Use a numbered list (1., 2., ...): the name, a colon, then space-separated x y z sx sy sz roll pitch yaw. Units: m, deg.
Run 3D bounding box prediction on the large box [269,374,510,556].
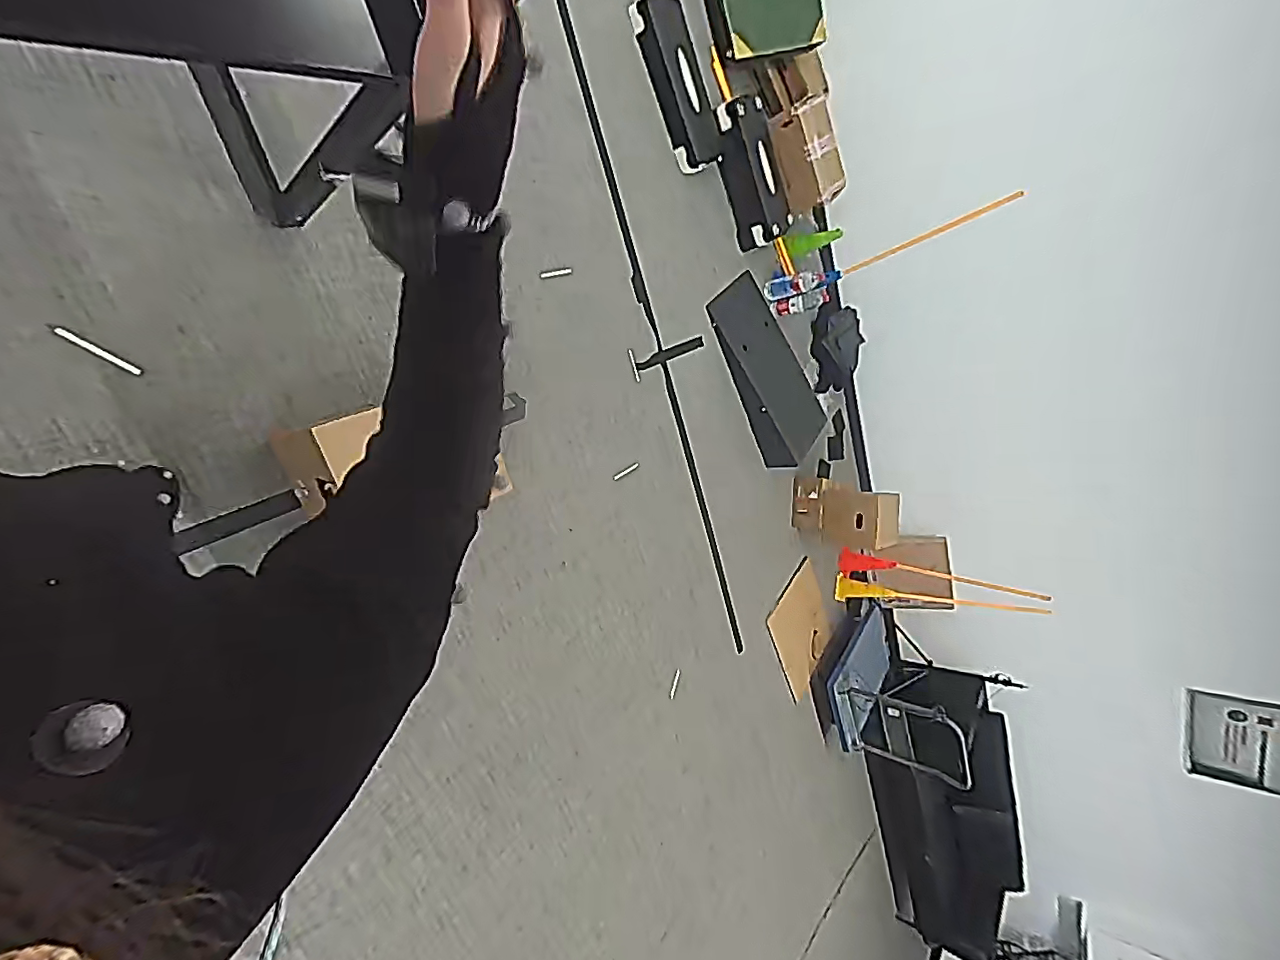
1. large box: -0.621 -0.046 1.371 0.408 0.320 0.320 -33 114 -44
